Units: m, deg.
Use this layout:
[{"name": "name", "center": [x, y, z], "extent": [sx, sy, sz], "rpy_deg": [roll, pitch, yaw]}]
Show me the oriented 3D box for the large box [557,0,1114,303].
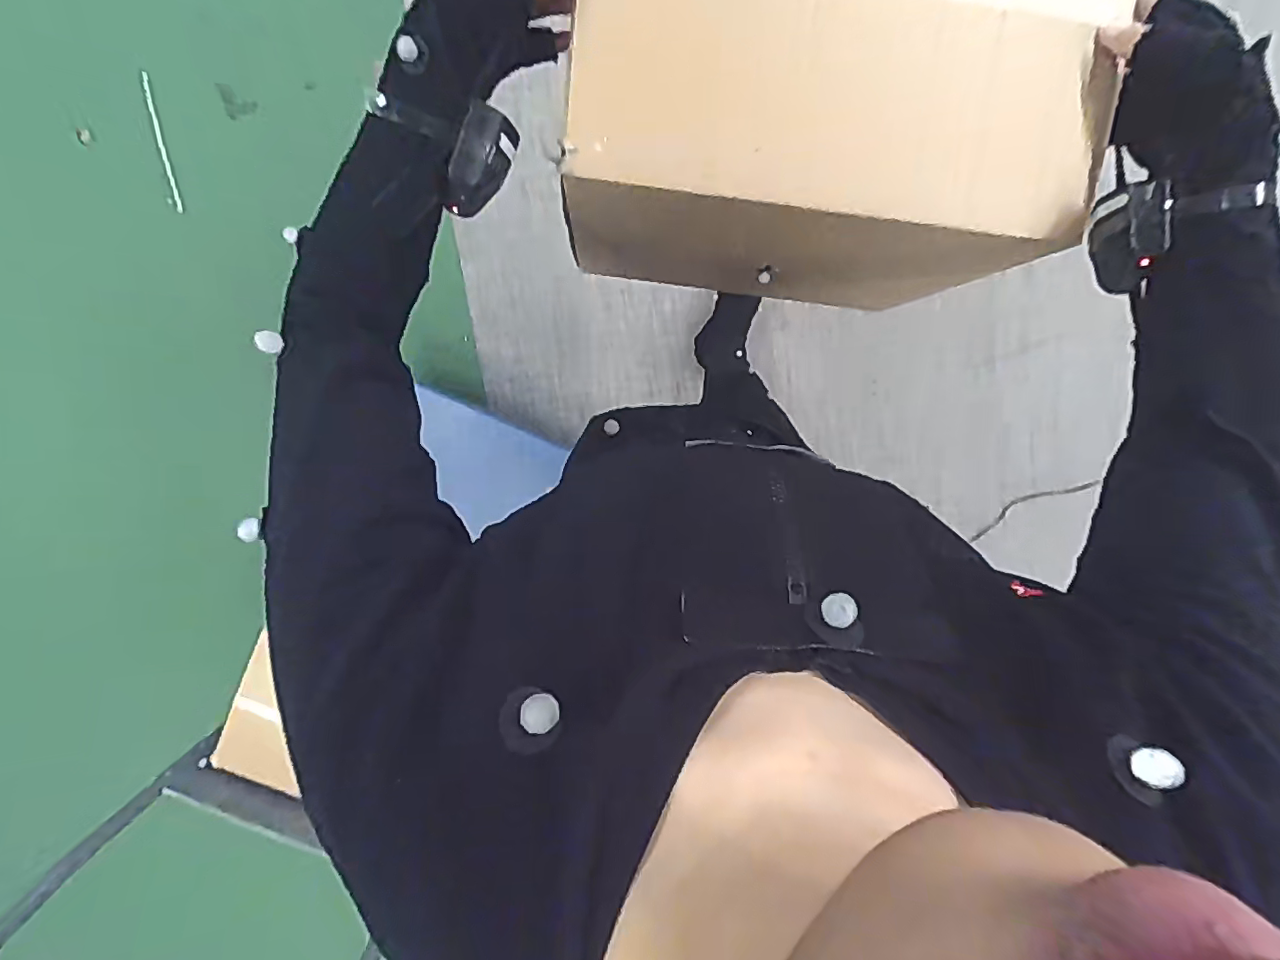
[{"name": "large box", "center": [0.144, -0.374, 0.537], "extent": [0.408, 0.320, 0.320], "rpy_deg": [6, 97, -4]}]
